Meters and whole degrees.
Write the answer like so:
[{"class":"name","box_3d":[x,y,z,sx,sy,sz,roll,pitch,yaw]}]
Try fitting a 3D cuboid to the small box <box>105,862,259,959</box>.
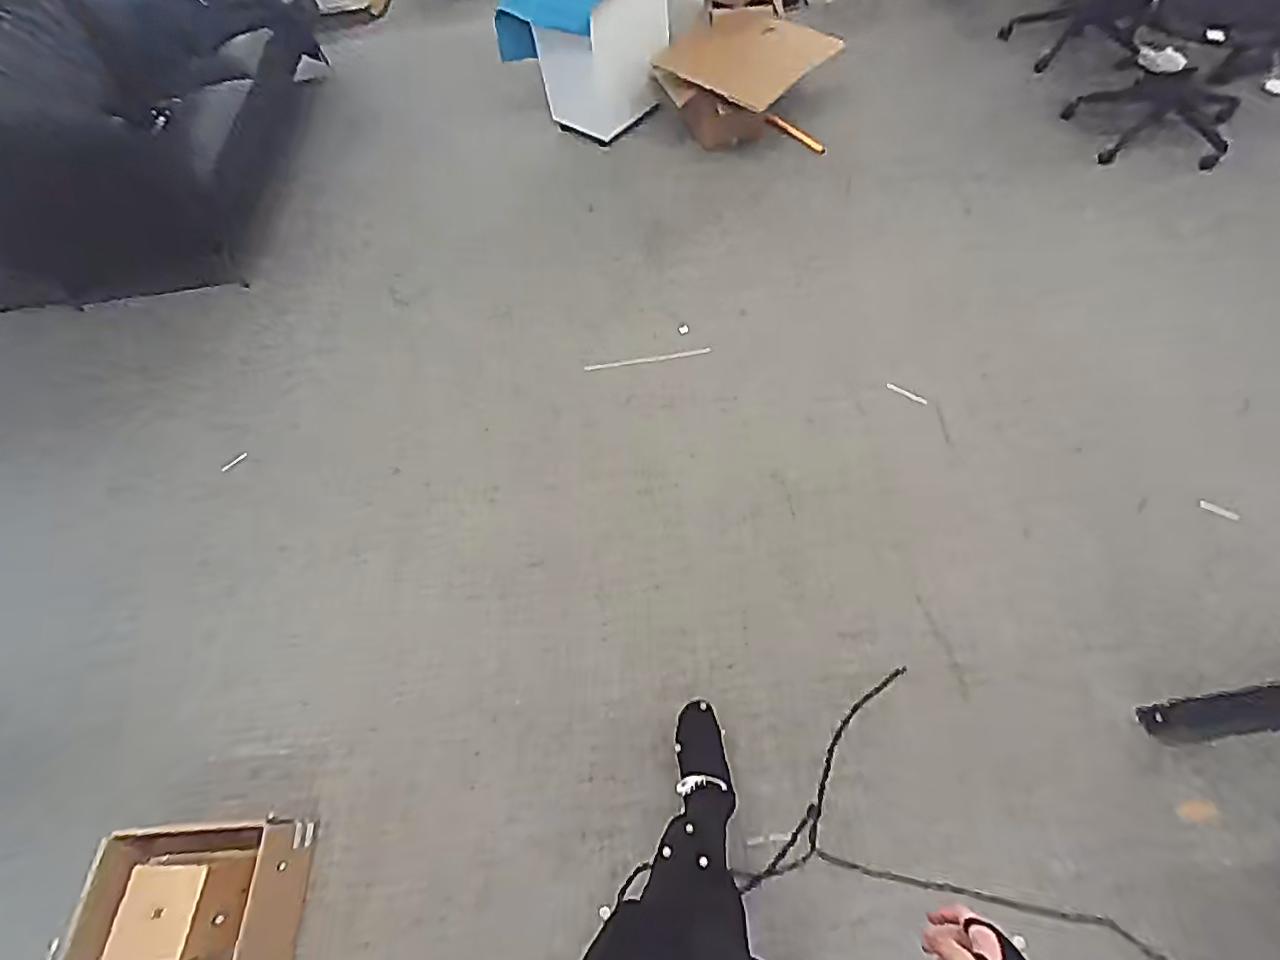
[{"class":"small box","box_3d":[-1.003,0.959,1.203,0.179,0.176,0.168,-3,60,5]}]
